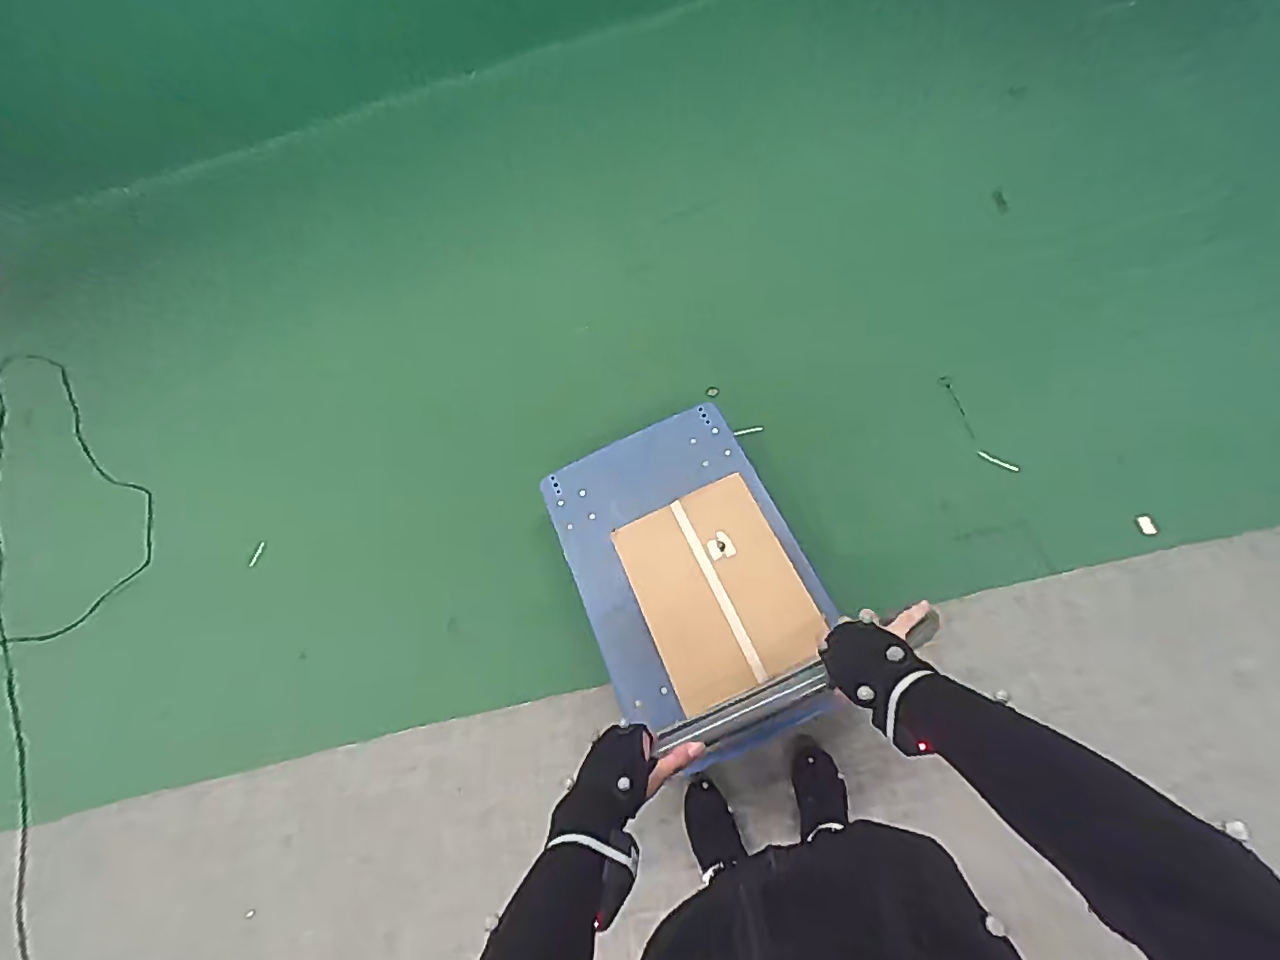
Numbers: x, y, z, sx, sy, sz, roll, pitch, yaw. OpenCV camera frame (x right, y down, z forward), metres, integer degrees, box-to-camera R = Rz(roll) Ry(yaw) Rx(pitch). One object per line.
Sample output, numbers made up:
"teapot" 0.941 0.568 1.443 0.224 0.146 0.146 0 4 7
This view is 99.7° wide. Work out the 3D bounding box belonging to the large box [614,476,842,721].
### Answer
"large box" 0.188 0.273 1.205 0.320 0.320 0.408 -25 63 -1
